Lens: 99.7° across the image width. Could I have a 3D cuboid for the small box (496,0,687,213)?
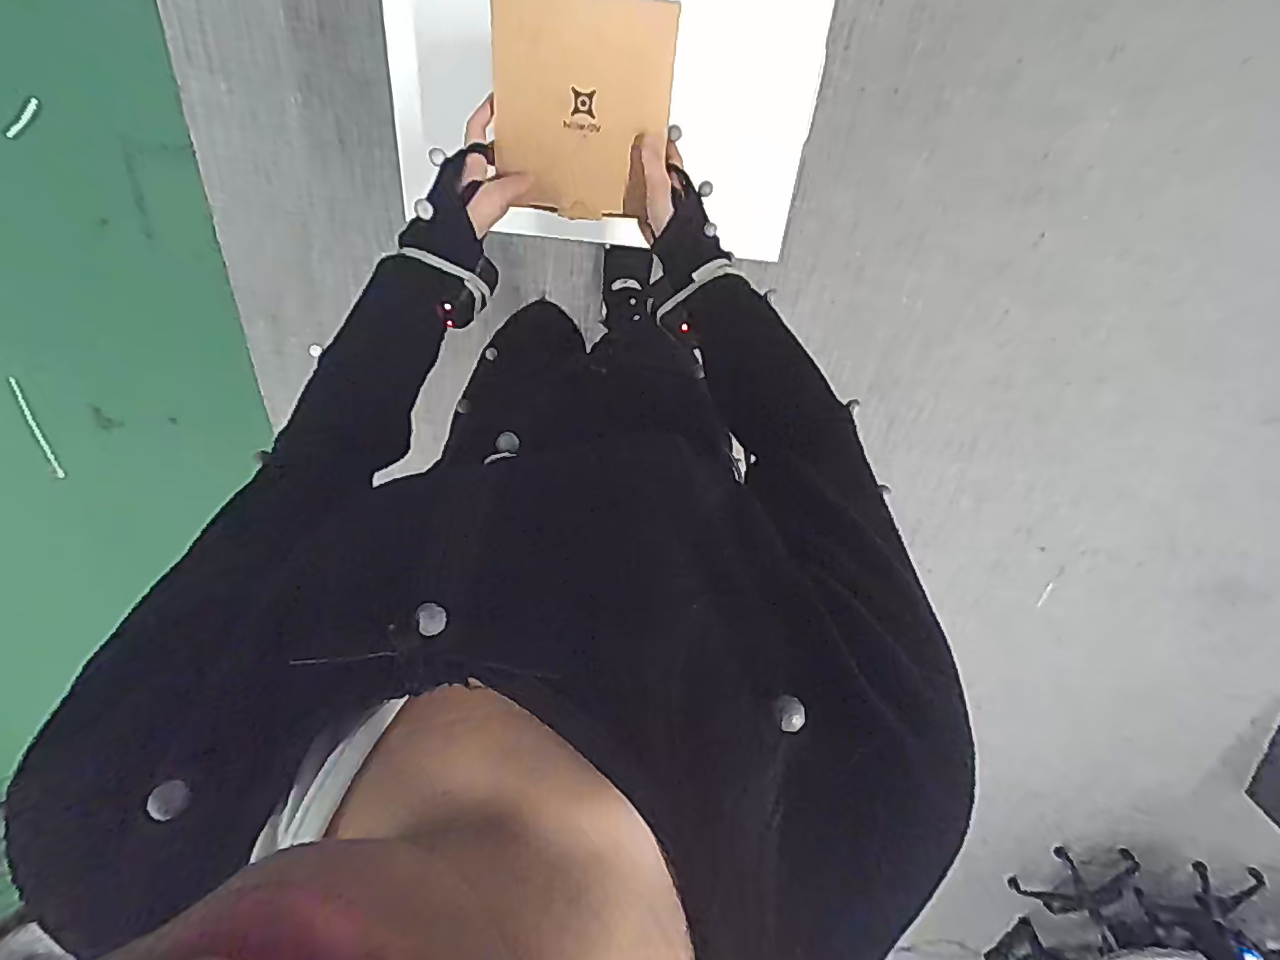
[{"bbox_3d":[-0.054,-0.386,0.562,0.168,0.176,0.179,2,120,-6],"label":"small box"}]
